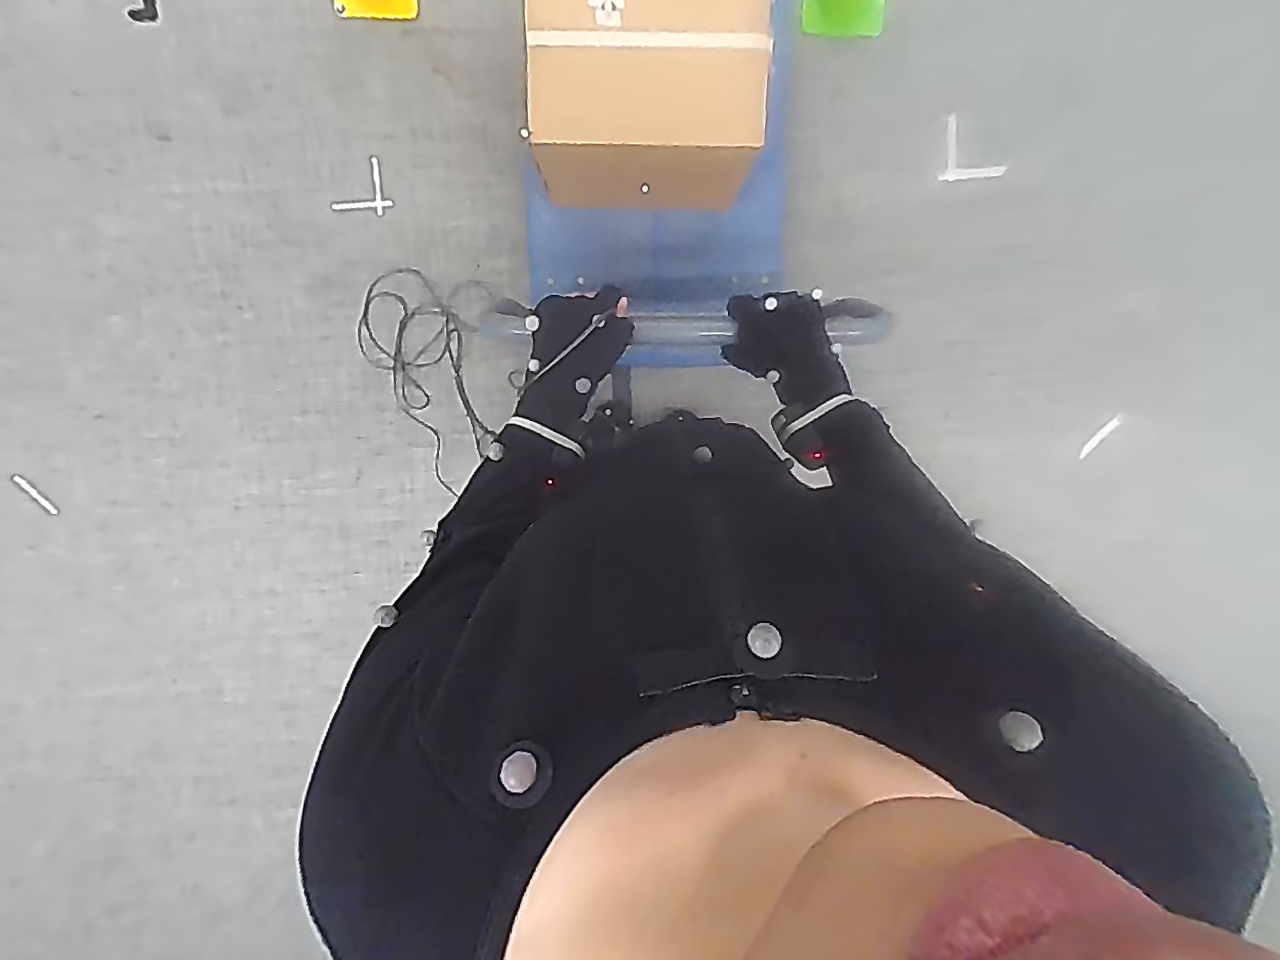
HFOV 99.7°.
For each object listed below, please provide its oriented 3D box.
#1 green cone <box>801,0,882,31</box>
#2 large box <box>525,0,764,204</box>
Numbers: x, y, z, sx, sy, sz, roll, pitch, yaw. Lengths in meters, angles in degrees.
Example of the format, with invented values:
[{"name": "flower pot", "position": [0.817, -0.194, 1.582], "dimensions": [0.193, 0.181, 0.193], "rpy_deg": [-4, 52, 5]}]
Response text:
[{"name": "green cone", "position": [0.499, -1.178, 1.141], "dimensions": [0.202, 0.368, 0.200], "rpy_deg": [1, 98, -2]}, {"name": "large box", "position": [0.009, -0.747, 1.049], "dimensions": [0.408, 0.320, 0.320], "rpy_deg": [1, 98, 0]}]
